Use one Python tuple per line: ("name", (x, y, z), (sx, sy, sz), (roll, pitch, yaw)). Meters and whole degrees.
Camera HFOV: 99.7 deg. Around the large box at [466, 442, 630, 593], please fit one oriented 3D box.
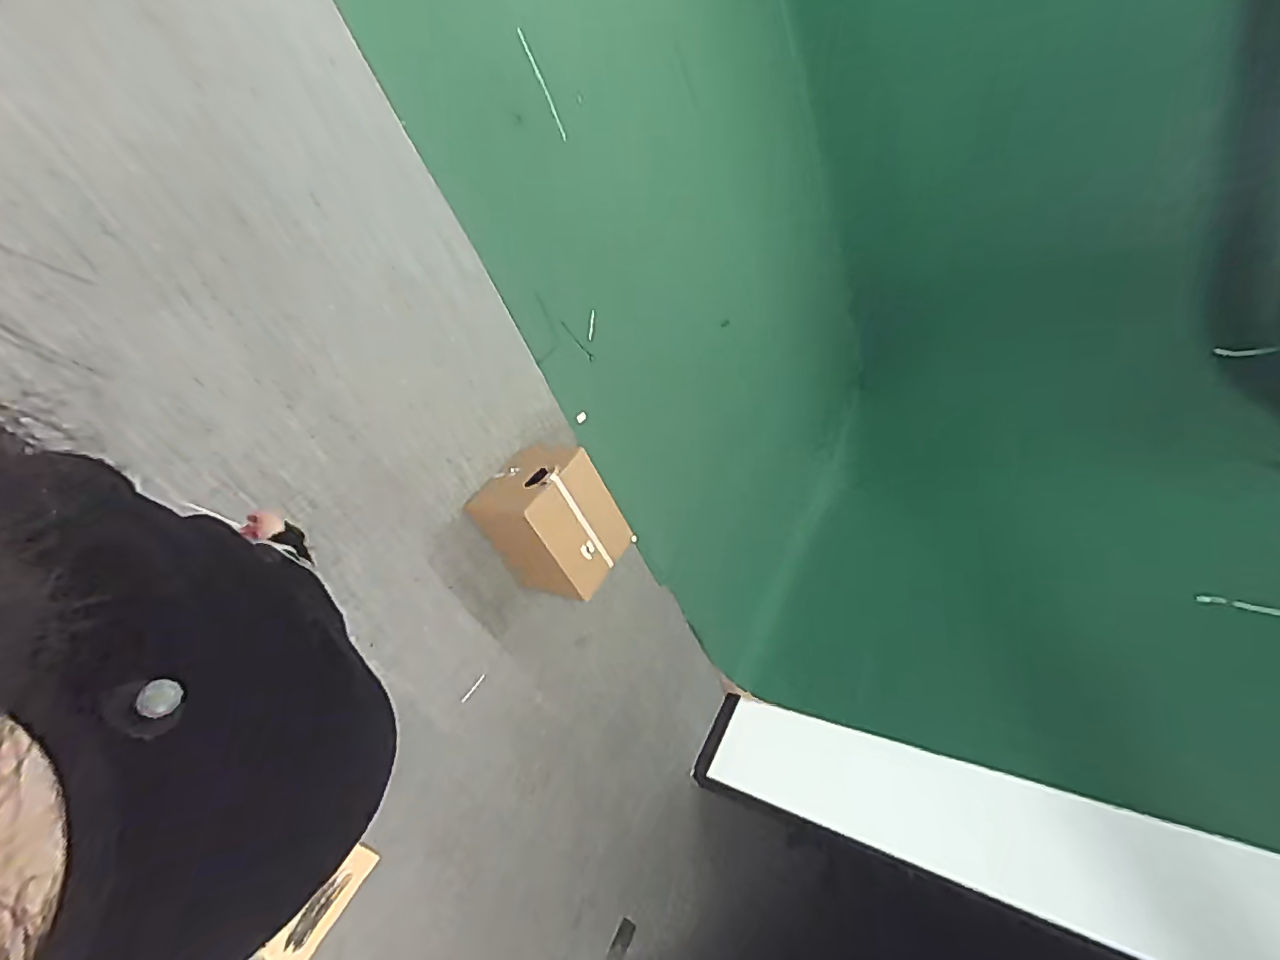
("large box", (-0.300, 0.120, 1.828), (0.320, 0.320, 0.408), (-53, 130, -35))
